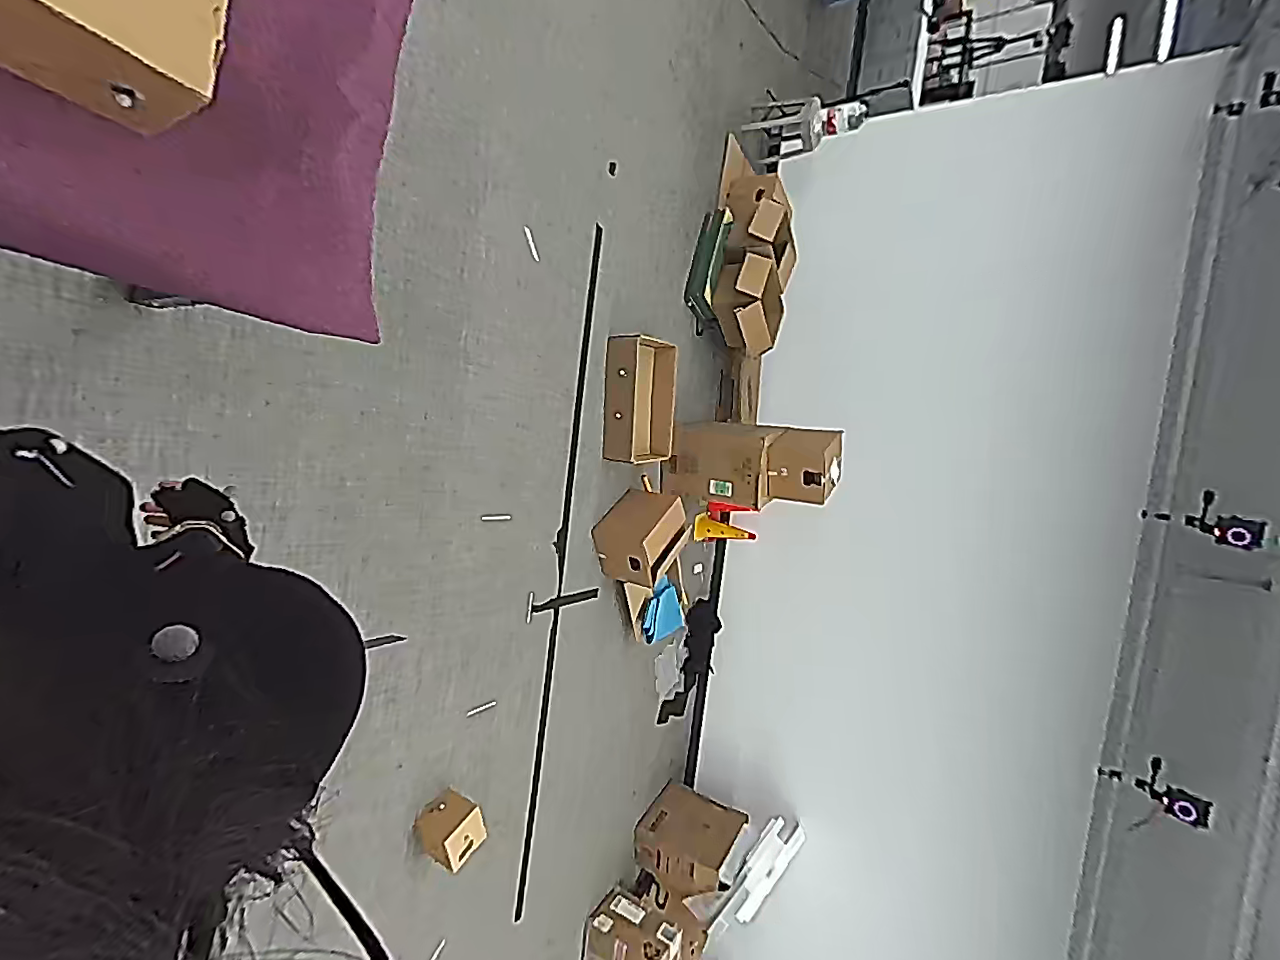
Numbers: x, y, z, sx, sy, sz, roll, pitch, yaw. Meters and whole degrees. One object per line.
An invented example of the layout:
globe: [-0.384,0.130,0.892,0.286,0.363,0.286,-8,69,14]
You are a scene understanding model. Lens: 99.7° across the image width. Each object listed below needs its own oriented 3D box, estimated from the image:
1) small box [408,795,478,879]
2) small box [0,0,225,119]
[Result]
small box: [-0.742,1.335,2.035,0.168,0.176,0.179,-35,126,-52]
small box: [-0.509,-0.461,0.482,0.179,0.176,0.168,8,88,-59]
